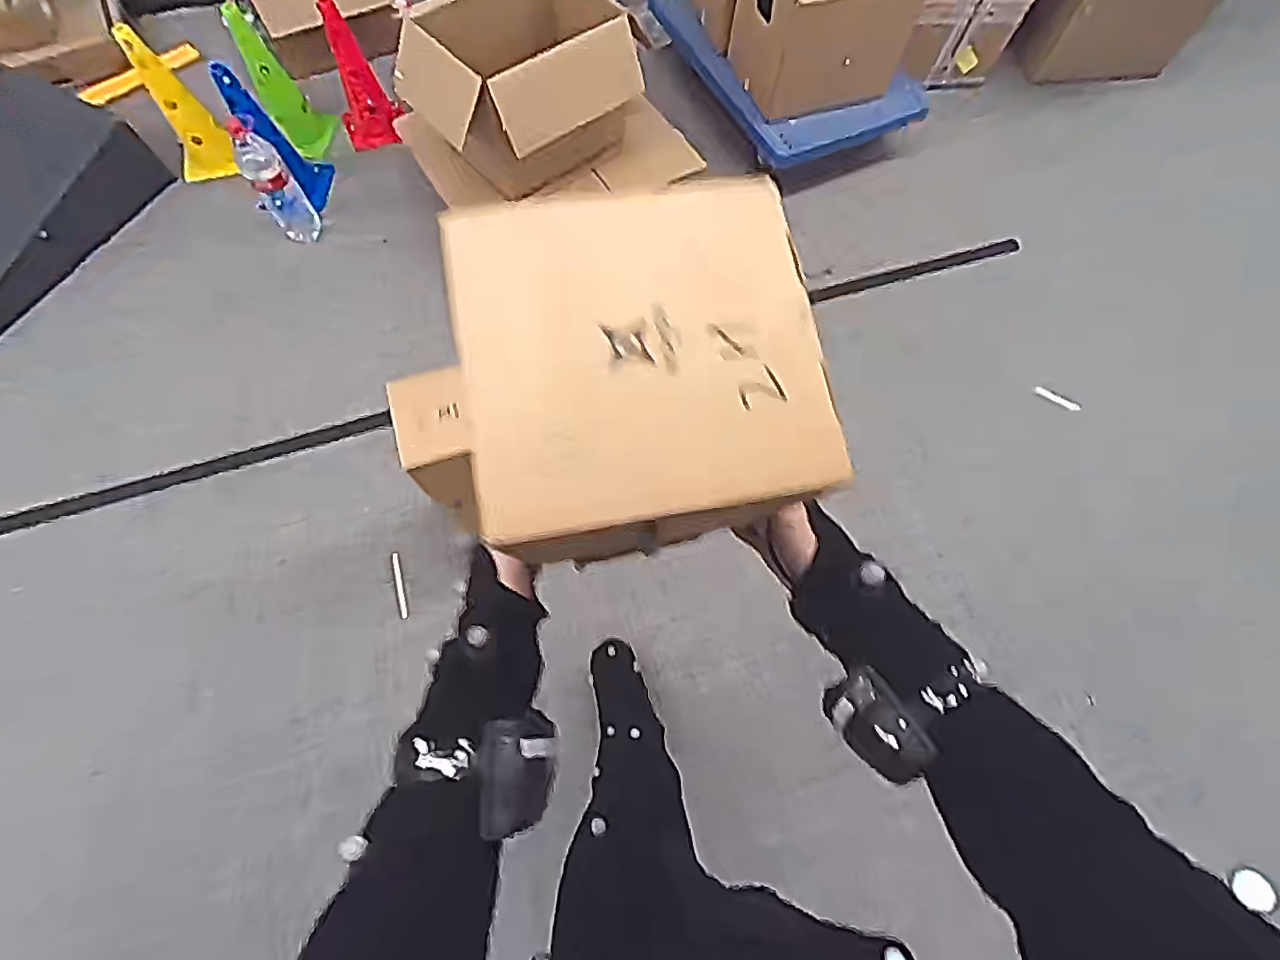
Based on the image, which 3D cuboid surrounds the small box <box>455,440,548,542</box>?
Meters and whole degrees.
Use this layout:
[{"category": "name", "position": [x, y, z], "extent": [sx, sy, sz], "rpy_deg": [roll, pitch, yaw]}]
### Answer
[{"category": "small box", "position": [-0.326, 0.031, 1.265], "extent": [0.179, 0.176, 0.168], "rpy_deg": [-16, 71, -8]}]

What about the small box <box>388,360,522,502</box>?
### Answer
[{"category": "small box", "position": [-0.315, -0.081, 0.957], "extent": [0.179, 0.176, 0.168], "rpy_deg": [-18, 69, -8]}]
